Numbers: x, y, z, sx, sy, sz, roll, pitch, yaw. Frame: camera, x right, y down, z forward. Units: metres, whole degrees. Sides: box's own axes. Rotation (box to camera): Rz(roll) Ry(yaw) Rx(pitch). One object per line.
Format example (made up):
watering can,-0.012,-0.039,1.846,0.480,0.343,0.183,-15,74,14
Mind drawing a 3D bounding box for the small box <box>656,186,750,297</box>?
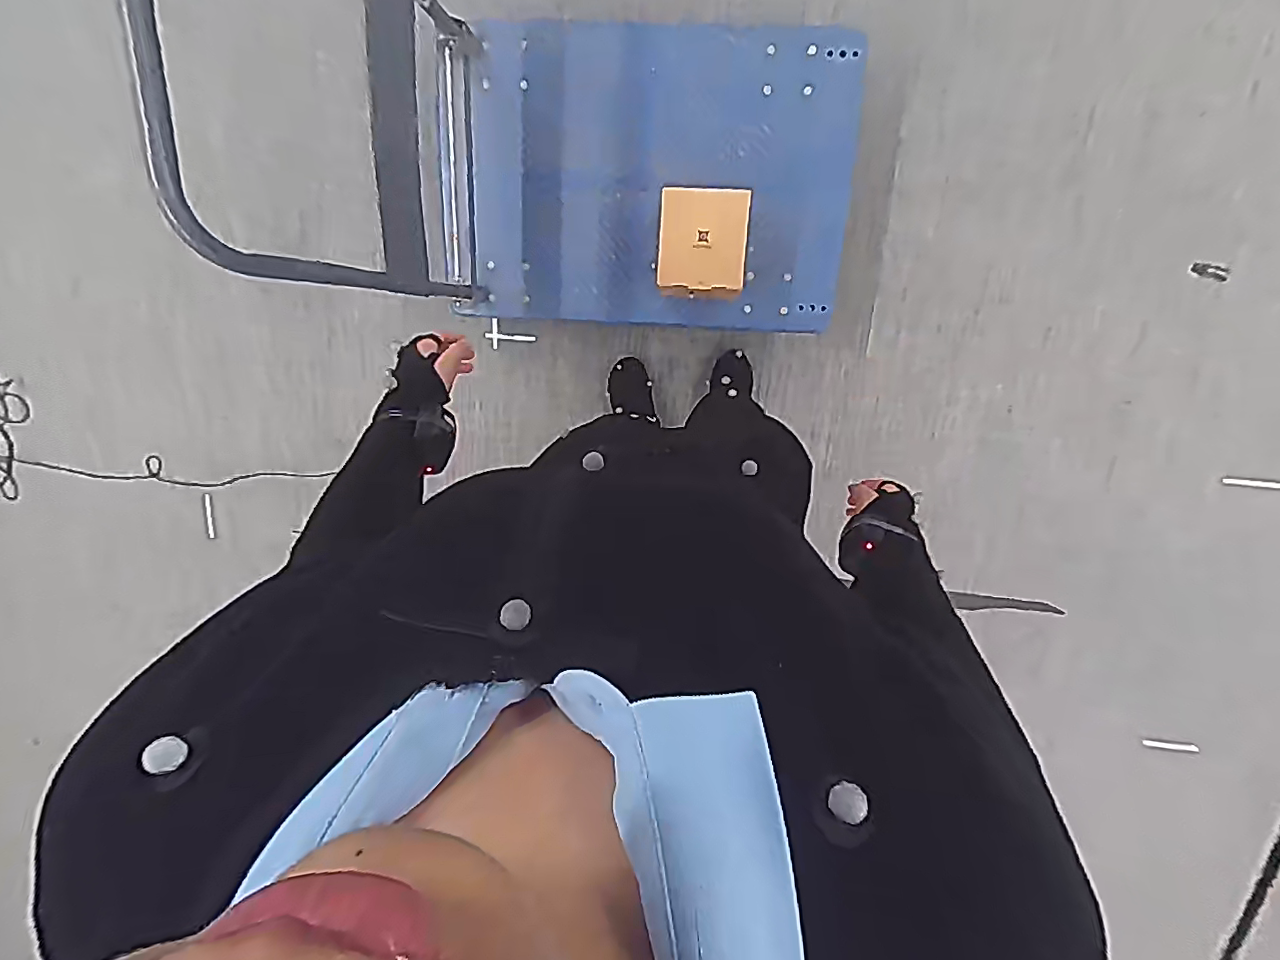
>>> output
small box,0.121,-0.472,1.091,0.168,0.176,0.179,4,105,3
